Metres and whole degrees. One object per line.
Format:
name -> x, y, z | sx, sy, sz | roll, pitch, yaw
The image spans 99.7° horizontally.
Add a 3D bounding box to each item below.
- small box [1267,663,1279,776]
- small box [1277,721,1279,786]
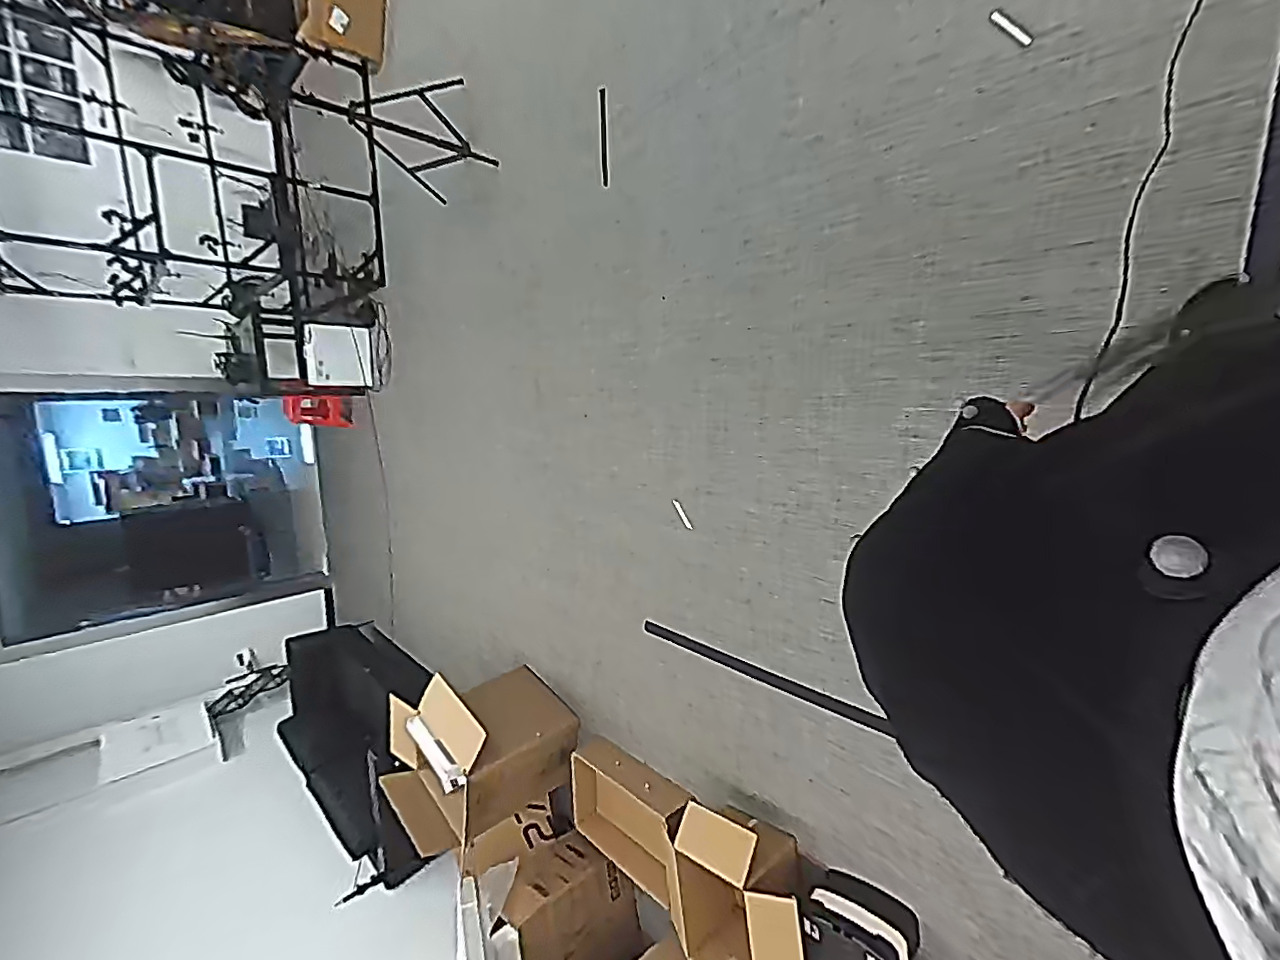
small box -> 1.210, 0.427, 0.915 | 0.179, 0.176, 0.168 | 6, 101, 47
small box -> 1.090, 0.442, 0.807 | 0.168, 0.176, 0.179 | 3, 97, 45
